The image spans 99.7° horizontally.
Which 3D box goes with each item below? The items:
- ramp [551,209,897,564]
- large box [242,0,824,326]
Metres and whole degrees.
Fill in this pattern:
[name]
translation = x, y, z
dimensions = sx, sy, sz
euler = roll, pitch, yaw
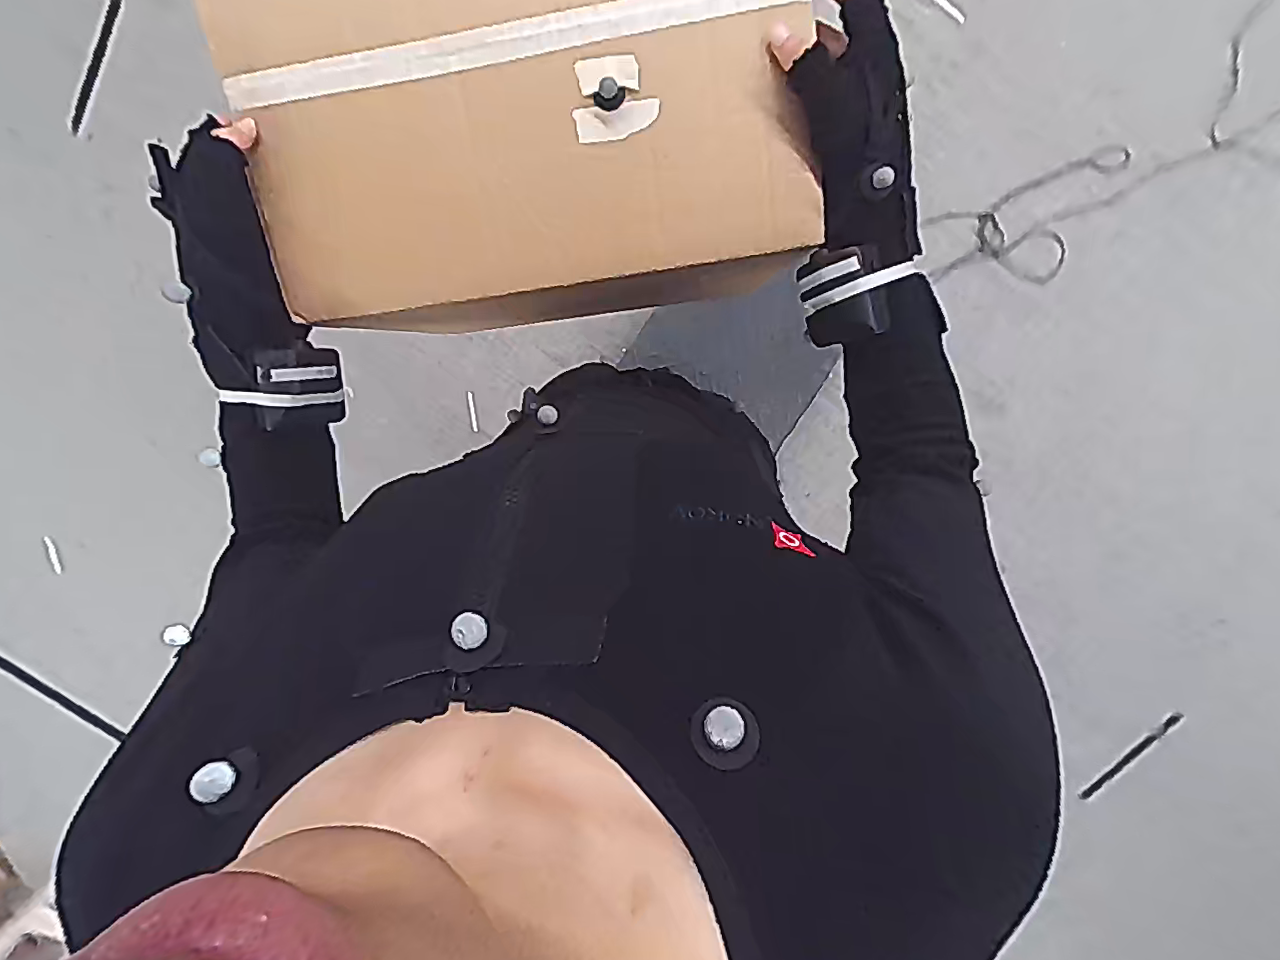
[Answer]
[ramp]
translation = 0.223, -0.309, 1.473
dimensions = 0.509, 0.206, 0.991
euler = 32, 103, -1
[large box]
translation = -0.074, -0.341, 0.525
dimensions = 0.408, 0.320, 0.320
euler = -6, 104, 4
